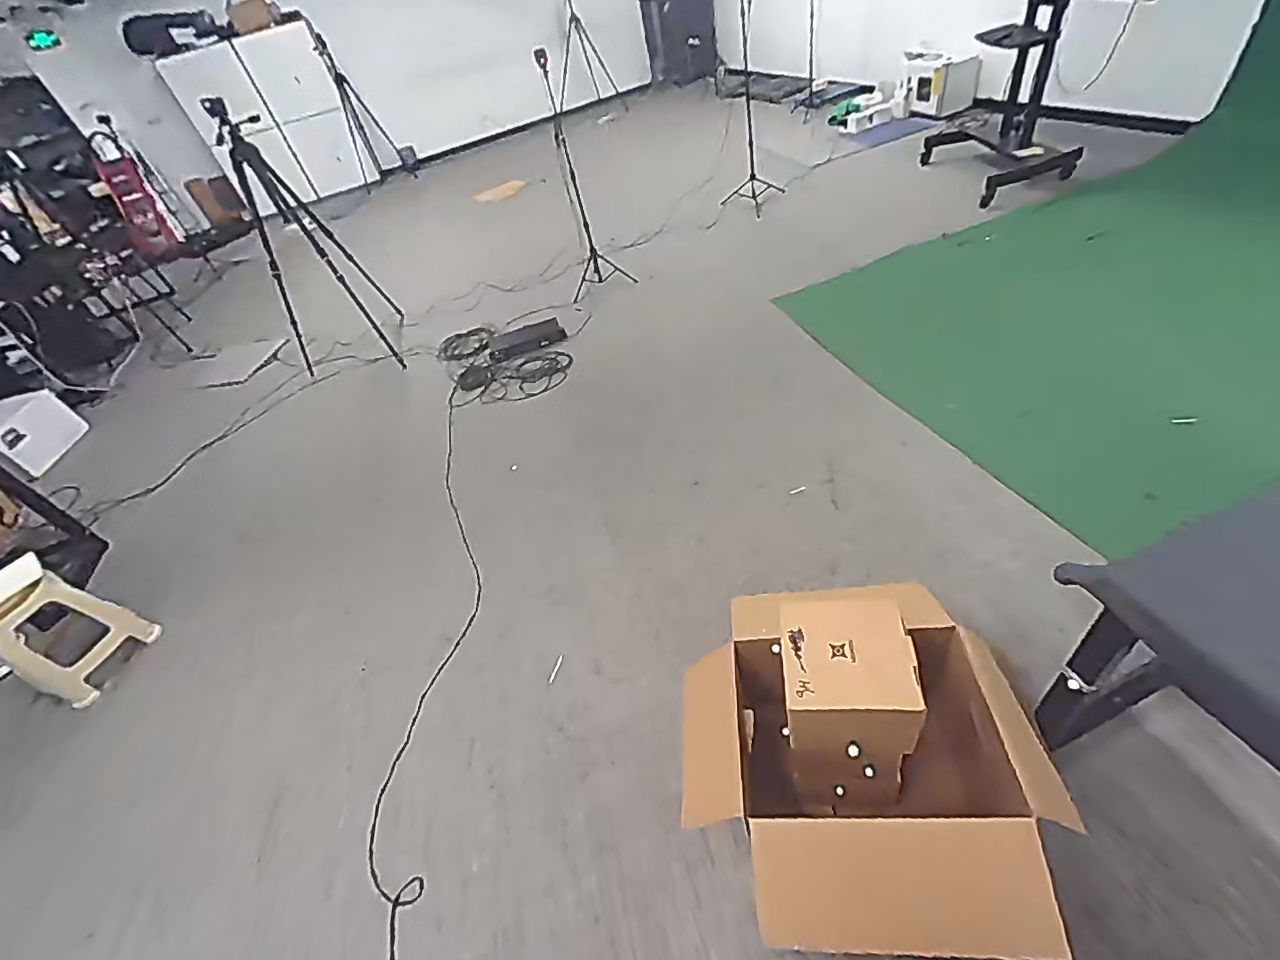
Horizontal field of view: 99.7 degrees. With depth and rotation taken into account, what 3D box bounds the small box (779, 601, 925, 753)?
[{"bbox_3d":[0.306,0.297,0.816,0.179,0.176,0.168,-5,45,14],"label":"small box"}]
